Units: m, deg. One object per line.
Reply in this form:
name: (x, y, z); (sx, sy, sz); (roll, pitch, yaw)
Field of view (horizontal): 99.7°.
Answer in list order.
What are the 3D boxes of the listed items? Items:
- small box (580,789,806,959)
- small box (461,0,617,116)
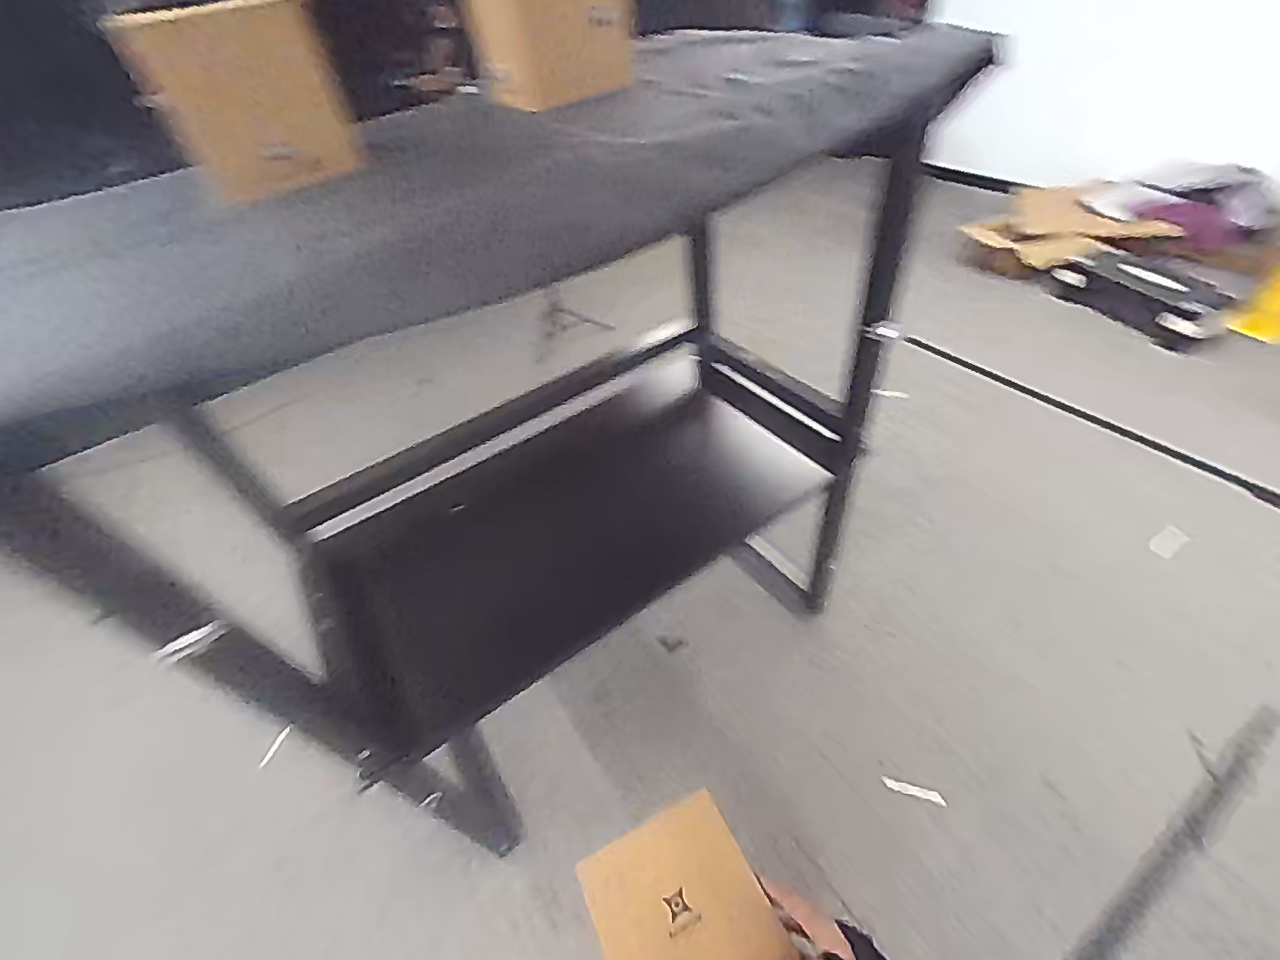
small box: (0.054, 0.484, 0.576); (0.168, 0.176, 0.179); (-23, 39, -15)
small box: (-0.147, -0.661, 0.794); (0.179, 0.176, 0.168); (-29, 48, -18)
